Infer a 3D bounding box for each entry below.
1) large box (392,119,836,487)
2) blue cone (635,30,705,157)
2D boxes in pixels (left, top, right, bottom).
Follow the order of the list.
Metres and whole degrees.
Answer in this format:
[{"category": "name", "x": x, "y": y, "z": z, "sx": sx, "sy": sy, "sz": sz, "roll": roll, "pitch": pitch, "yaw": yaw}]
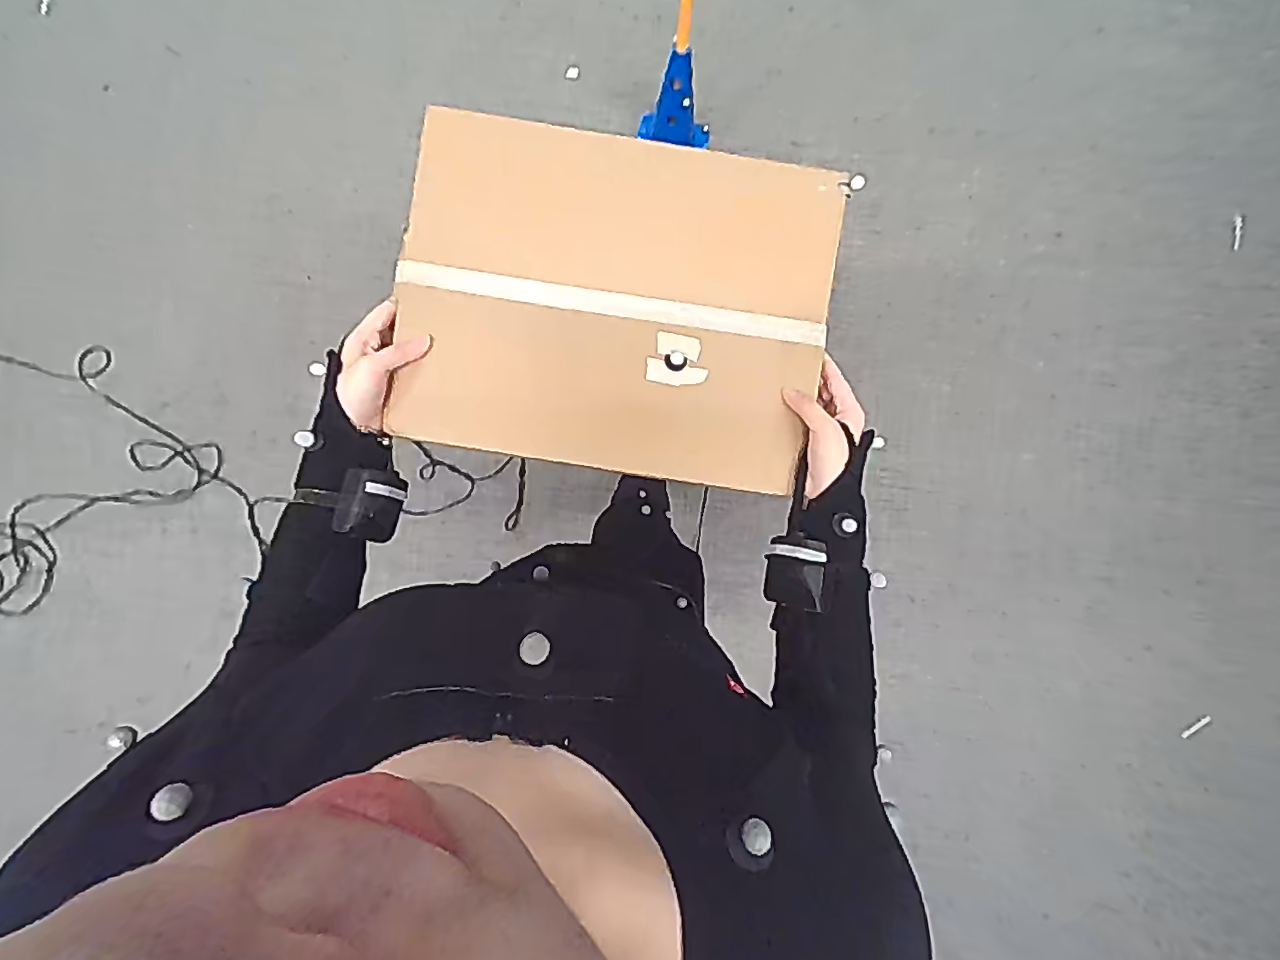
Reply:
[{"category": "large box", "x": -0.030, "y": -0.171, "z": 0.669, "sx": 0.408, "sy": 0.320, "sz": 0.320, "roll": 8, "pitch": 92, "yaw": -2}, {"category": "blue cone", "x": 0.086, "y": -0.954, "z": 1.373, "sx": 0.193, "sy": 0.380, "sz": 0.192, "roll": 15, "pitch": 86, "yaw": -1}]
